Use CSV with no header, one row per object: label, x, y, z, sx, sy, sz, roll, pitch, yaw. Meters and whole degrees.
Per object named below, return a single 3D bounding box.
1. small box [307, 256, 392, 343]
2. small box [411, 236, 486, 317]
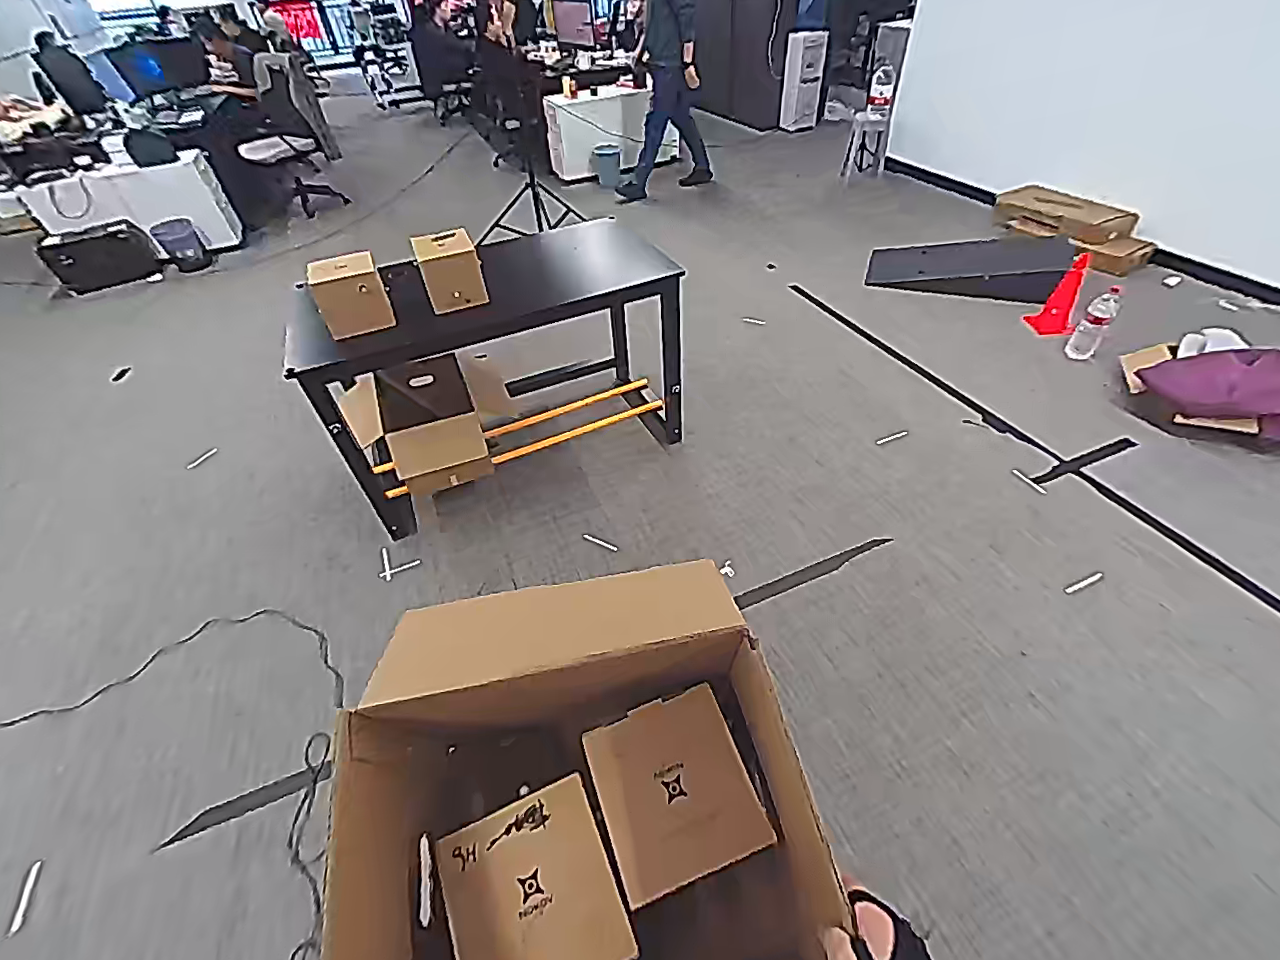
small box,-0.842,-0.527,1.581,0.179,0.176,0.168,-20,46,-16
small box,-0.586,-0.624,1.661,0.168,0.176,0.179,-19,47,-14
